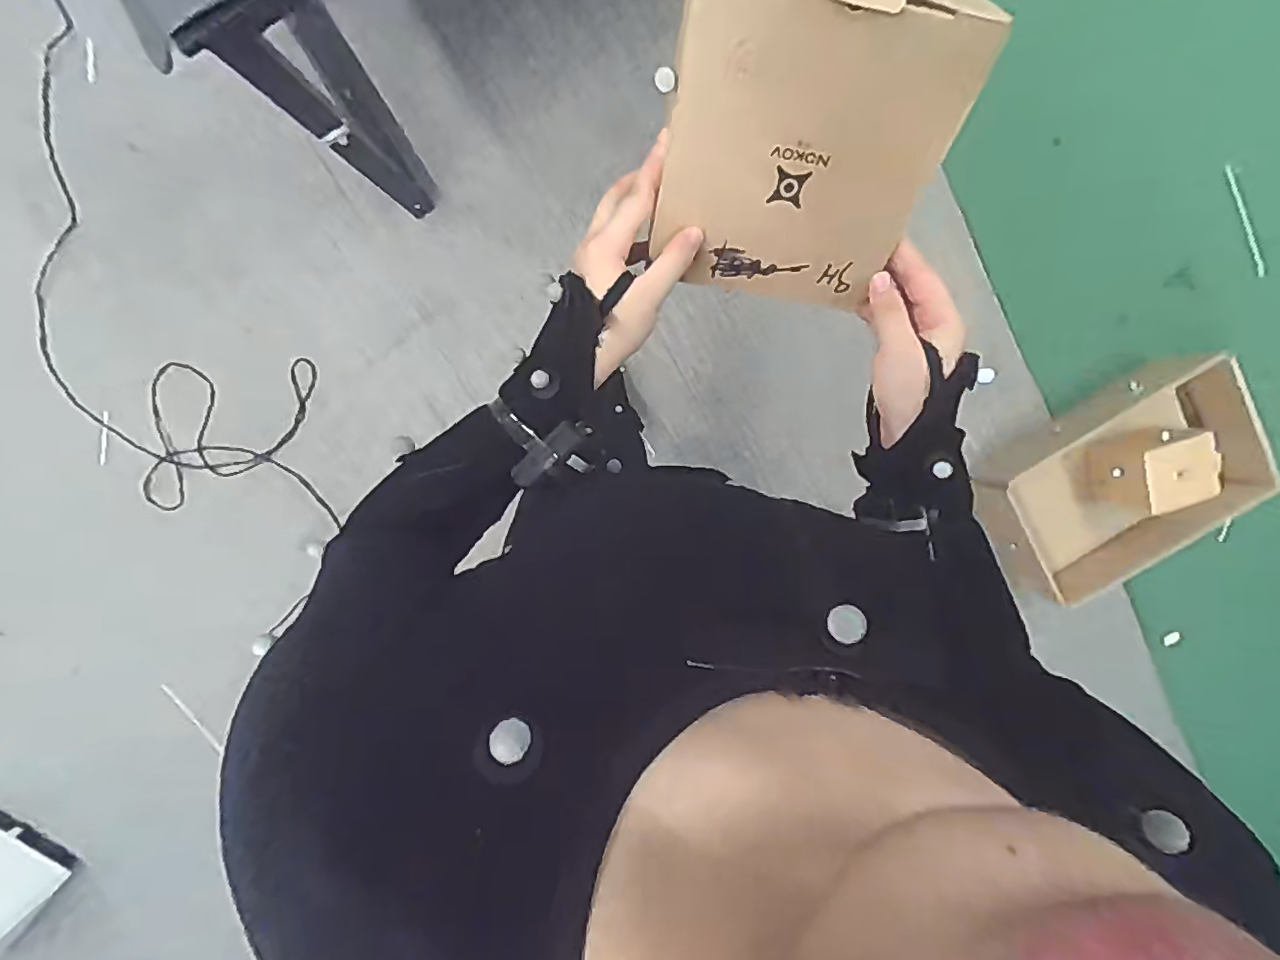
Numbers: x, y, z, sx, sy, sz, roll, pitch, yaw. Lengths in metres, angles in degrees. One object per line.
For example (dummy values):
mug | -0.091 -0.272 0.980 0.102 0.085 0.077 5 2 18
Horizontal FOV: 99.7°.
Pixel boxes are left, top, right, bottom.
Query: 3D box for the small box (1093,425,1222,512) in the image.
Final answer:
small box | 1.314 -0.035 1.389 0.179 0.176 0.168 -19 101 2

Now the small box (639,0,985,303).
small box | 0.095 -0.262 0.392 0.168 0.176 0.179 8 142 -4
